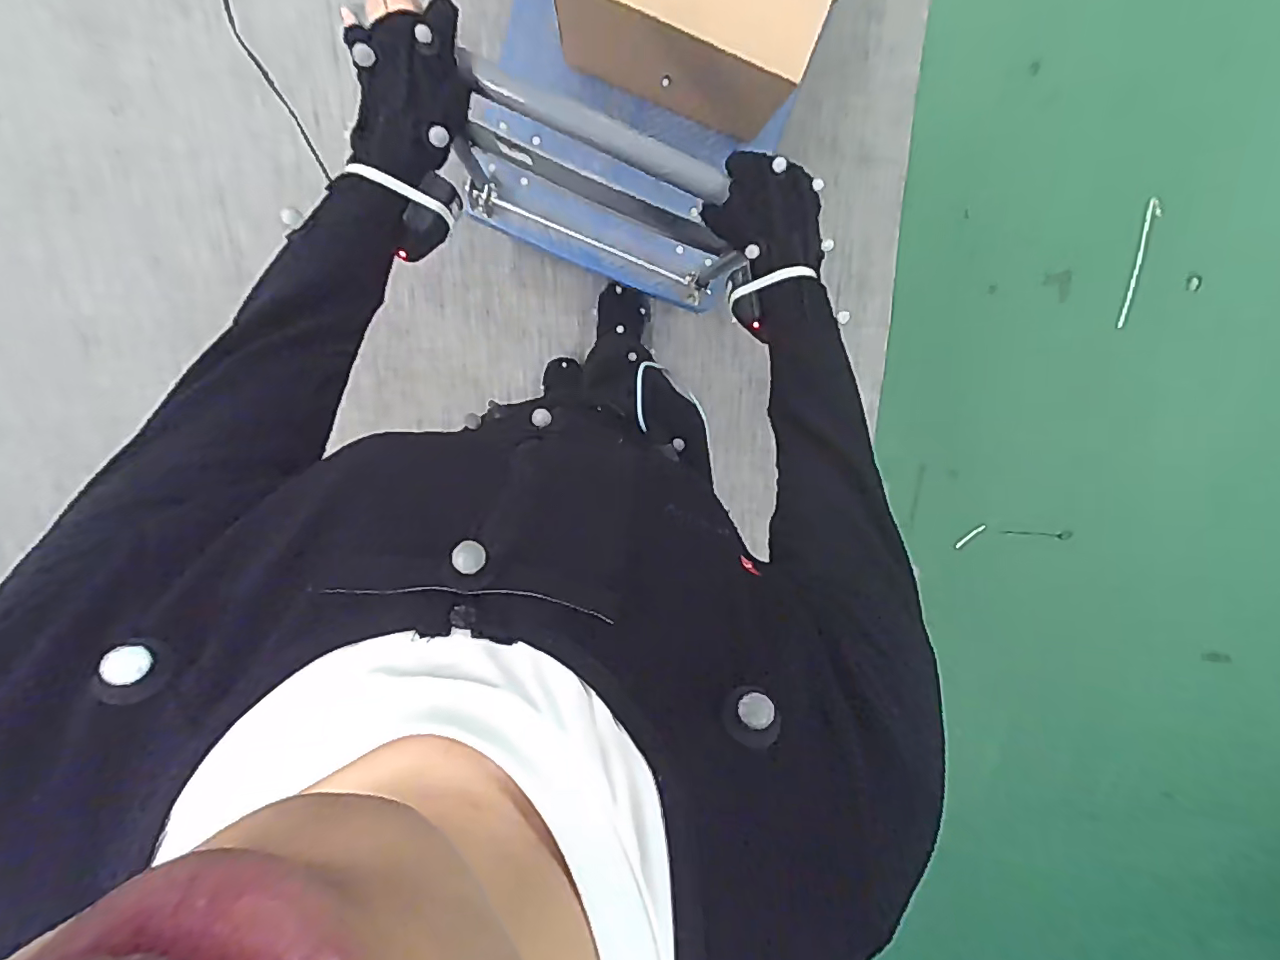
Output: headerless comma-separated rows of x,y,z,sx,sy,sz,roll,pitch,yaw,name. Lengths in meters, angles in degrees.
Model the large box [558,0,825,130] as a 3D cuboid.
0.100,-0.866,0.909,0.408,0.320,0.320,18,105,-9,large box
